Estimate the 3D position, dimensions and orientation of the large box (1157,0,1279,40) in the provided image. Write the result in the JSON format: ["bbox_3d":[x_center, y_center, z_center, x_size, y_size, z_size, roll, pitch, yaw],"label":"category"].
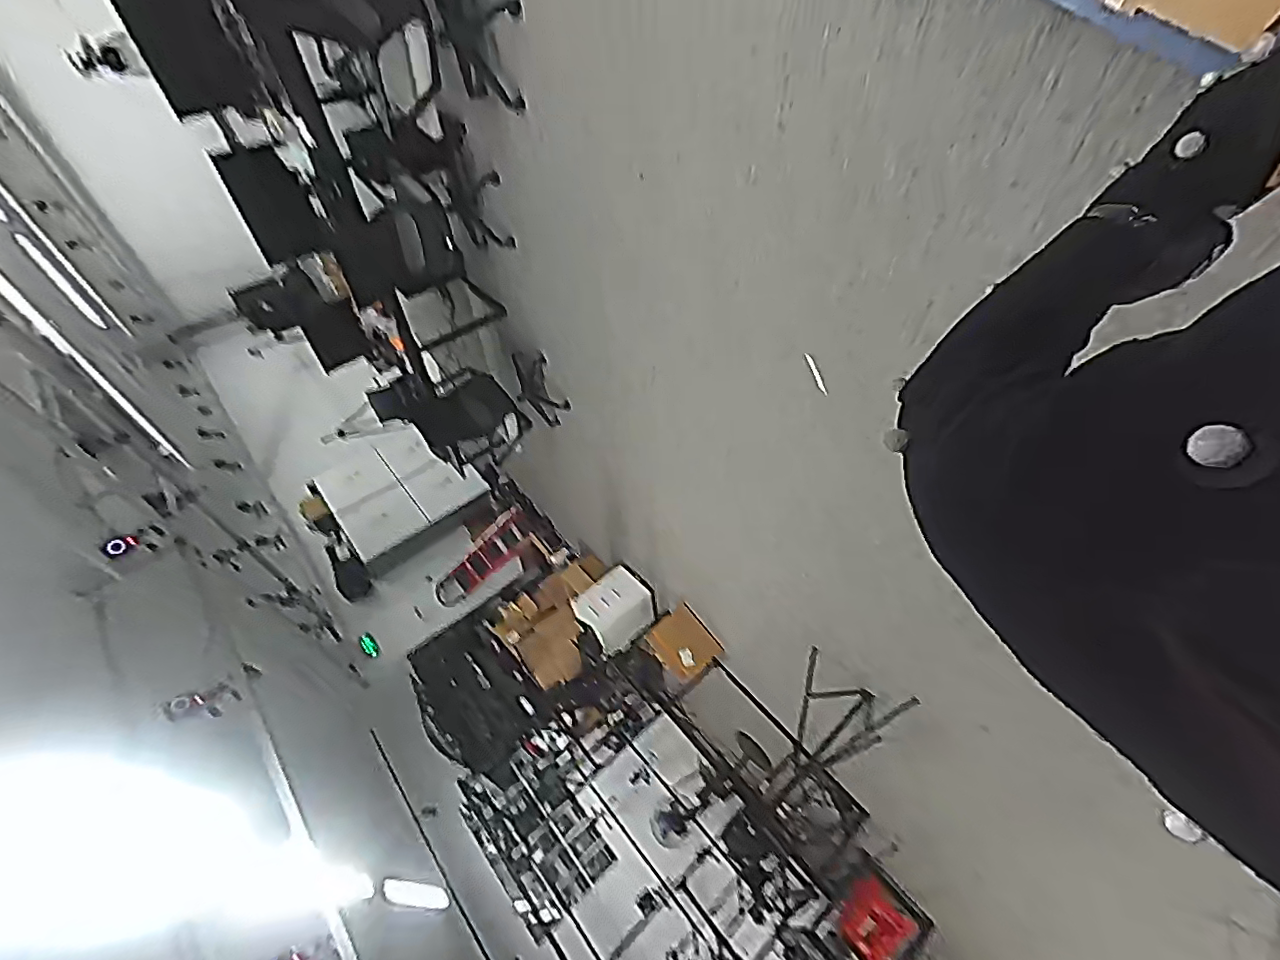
[{"bbox_3d":[0.724,-0.763,0.543,0.320,0.320,0.408,47,153,17],"label":"large box"}]
